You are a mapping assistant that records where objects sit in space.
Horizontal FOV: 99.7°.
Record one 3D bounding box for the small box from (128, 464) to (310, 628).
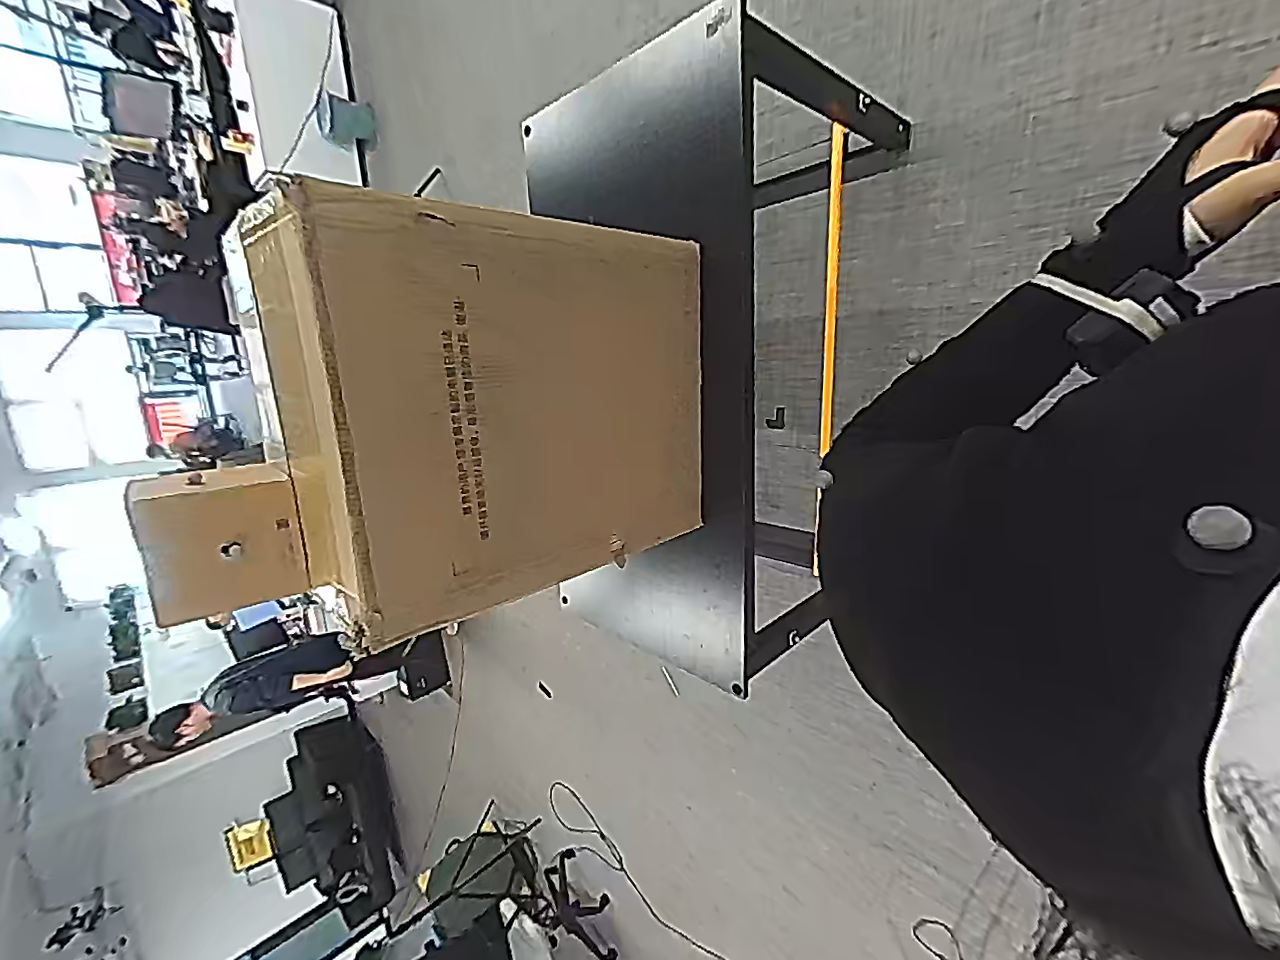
[{"bbox_3d":[-0.578,0.077,0.753,0.179,0.176,0.168,12,109,46],"label":"small box"}]
